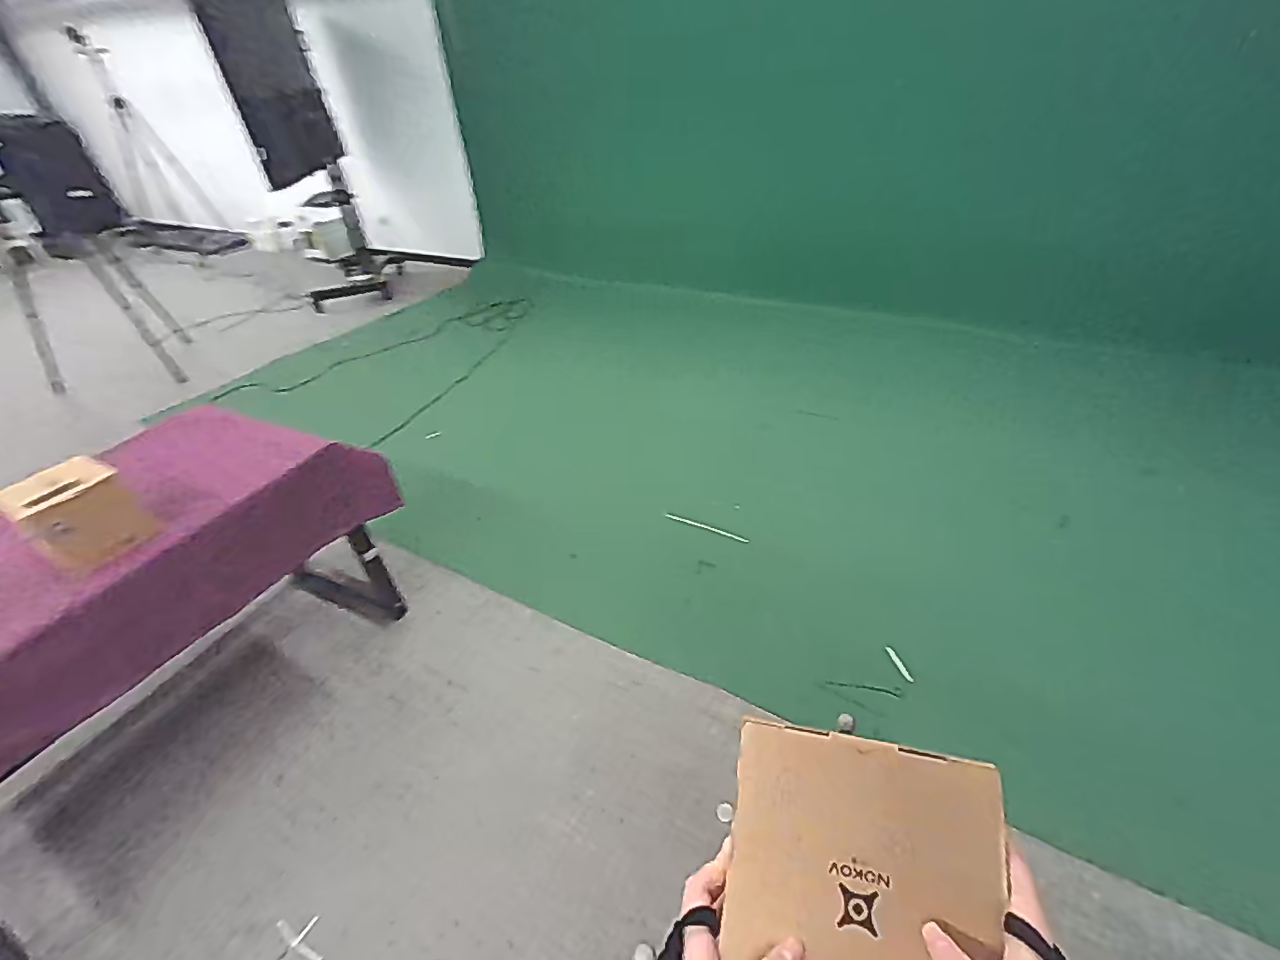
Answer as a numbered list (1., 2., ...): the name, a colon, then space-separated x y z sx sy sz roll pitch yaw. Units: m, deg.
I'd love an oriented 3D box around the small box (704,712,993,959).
1. small box: 0.144 0.285 0.411 0.168 0.176 0.179 4 67 15
